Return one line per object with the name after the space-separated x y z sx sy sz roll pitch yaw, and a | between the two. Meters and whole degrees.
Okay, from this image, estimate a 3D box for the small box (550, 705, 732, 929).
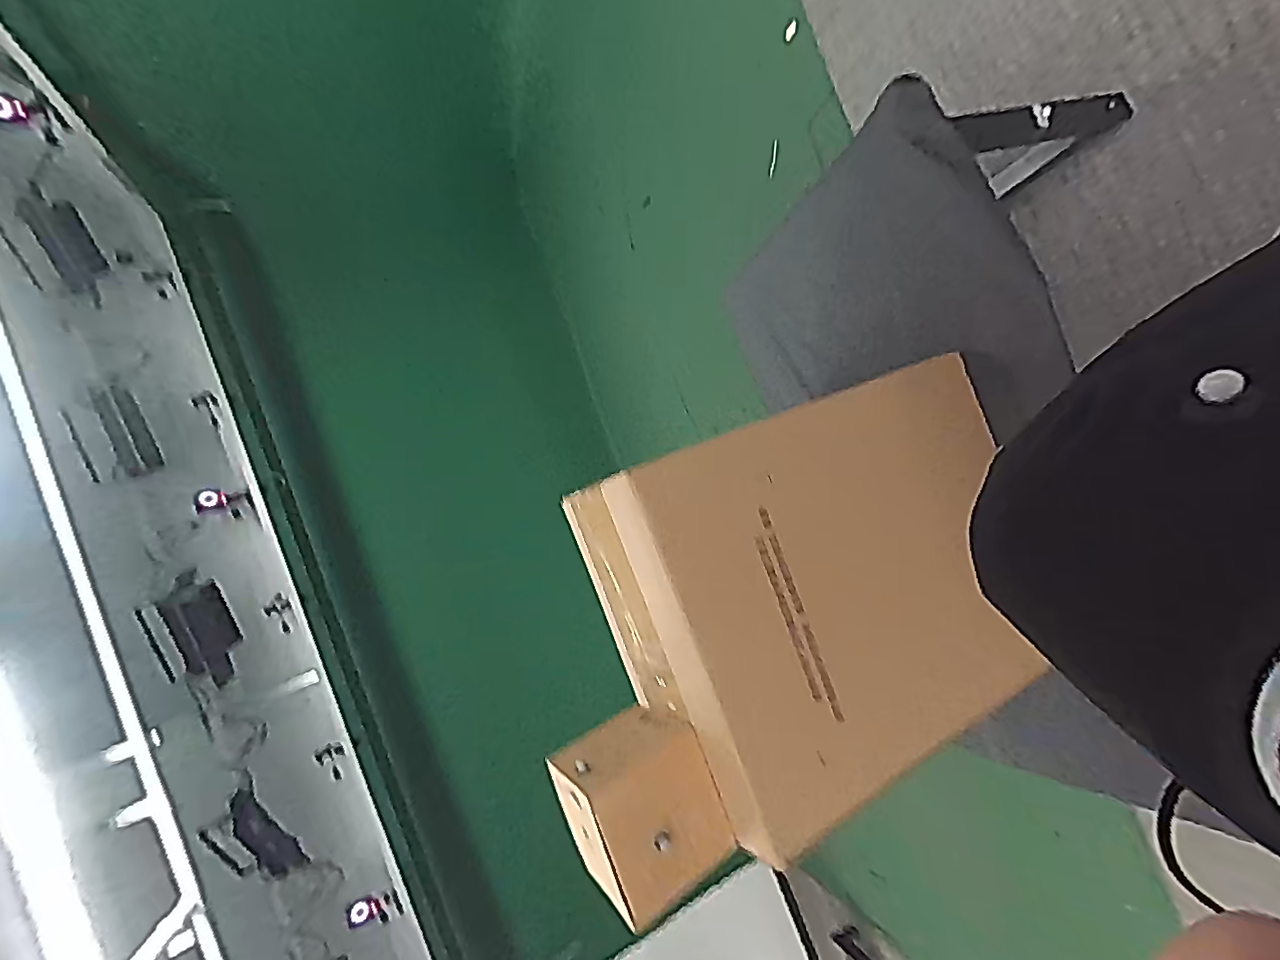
0.002 0.452 0.760 0.168 0.176 0.179 -22 89 61 | small box
